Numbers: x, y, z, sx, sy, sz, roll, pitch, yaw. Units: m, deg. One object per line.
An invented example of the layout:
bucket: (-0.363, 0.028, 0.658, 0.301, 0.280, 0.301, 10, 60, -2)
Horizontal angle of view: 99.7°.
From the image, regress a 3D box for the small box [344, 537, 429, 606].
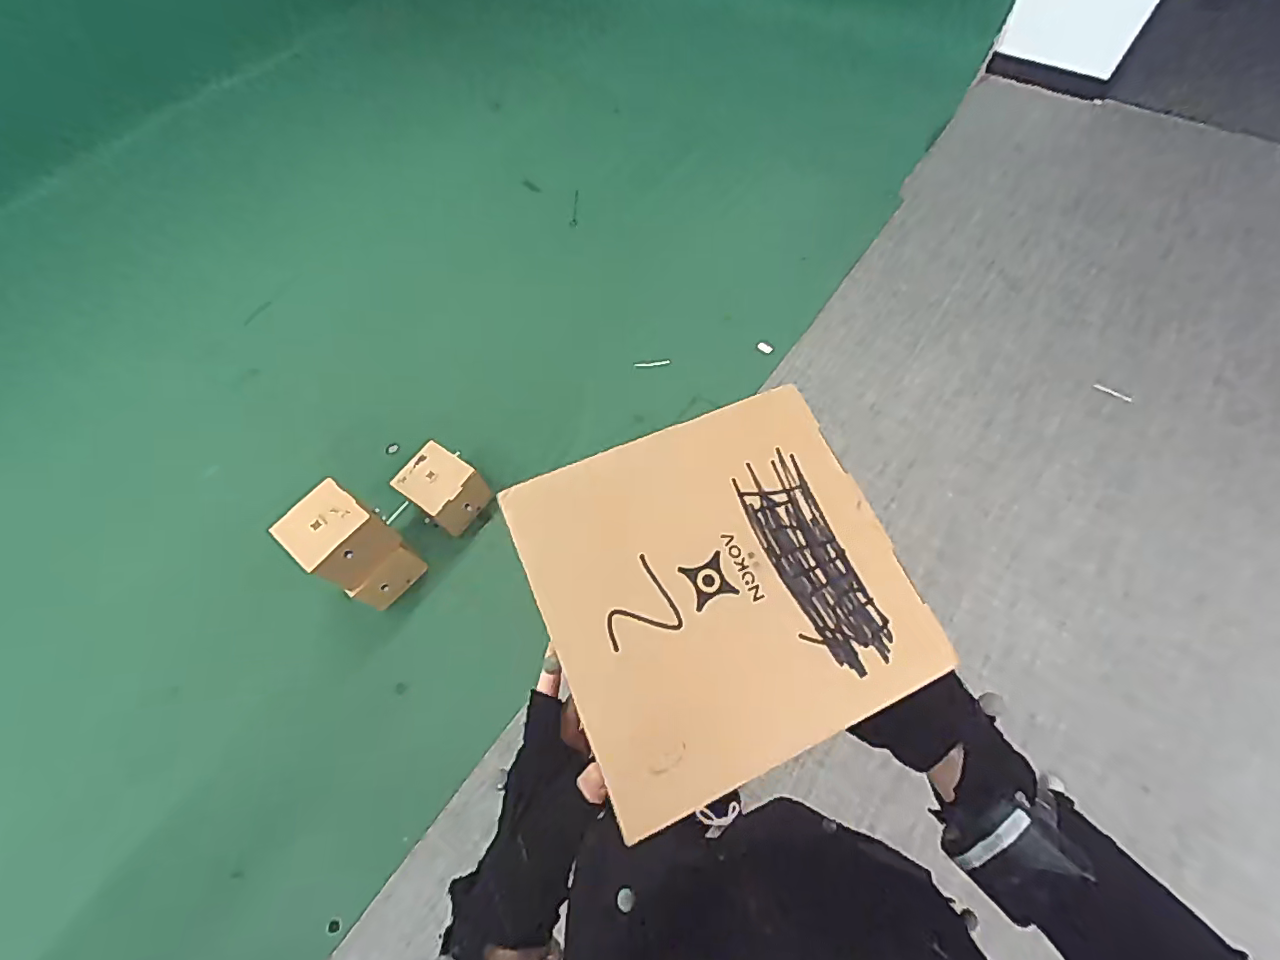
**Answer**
small box: (-0.704, 0.218, 1.450, 0.179, 0.176, 0.168, 37, 72, 20)

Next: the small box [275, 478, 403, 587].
small box: (-0.717, 0.133, 1.308, 0.168, 0.176, 0.179, 36, 72, 20)
